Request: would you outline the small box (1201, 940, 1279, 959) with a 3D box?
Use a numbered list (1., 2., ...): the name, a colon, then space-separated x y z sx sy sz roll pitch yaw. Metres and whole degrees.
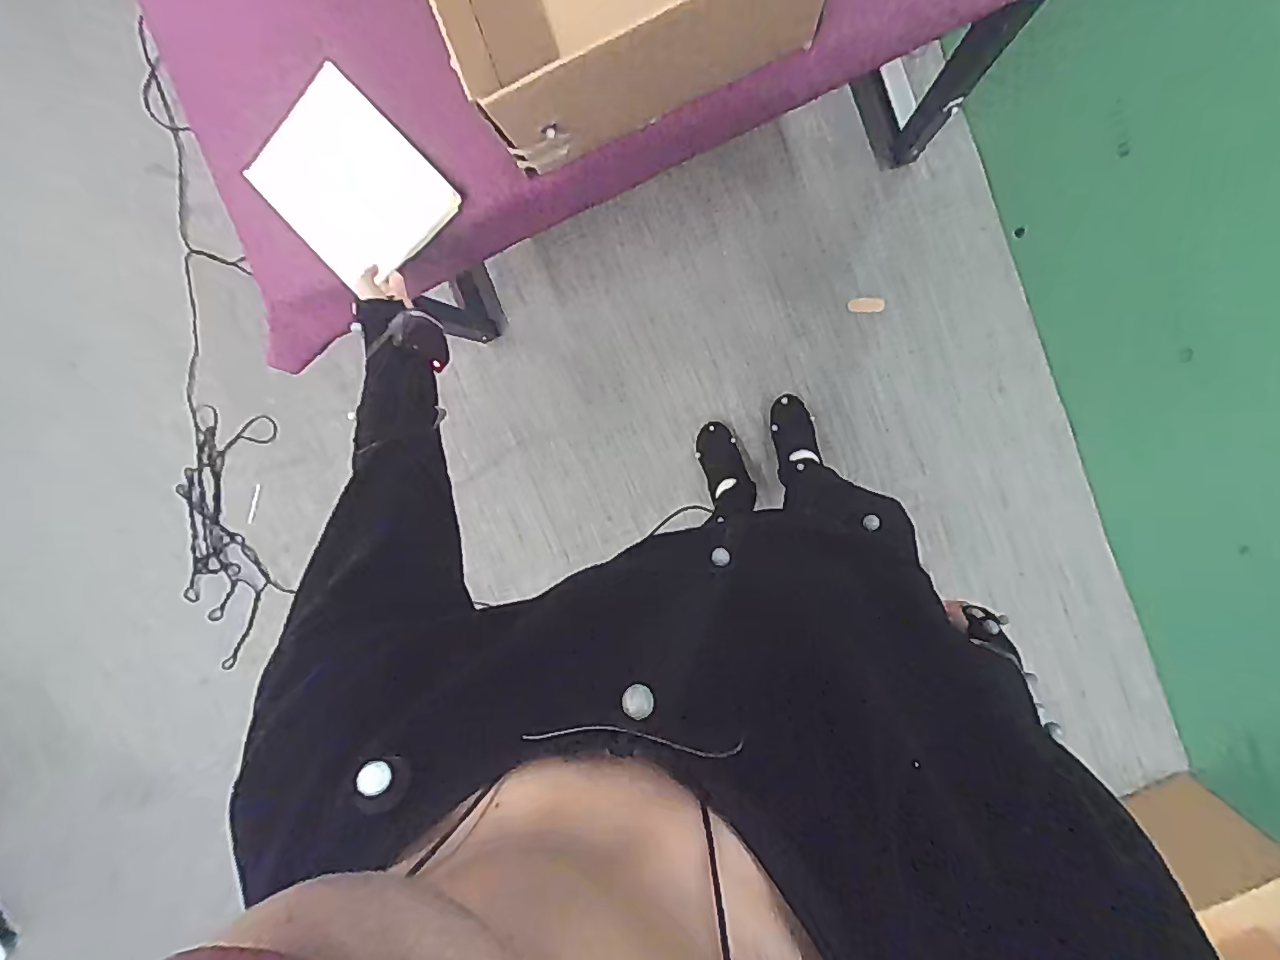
1. small box: 1.265 1.060 1.055 0.179 0.176 0.168 -32 91 12
